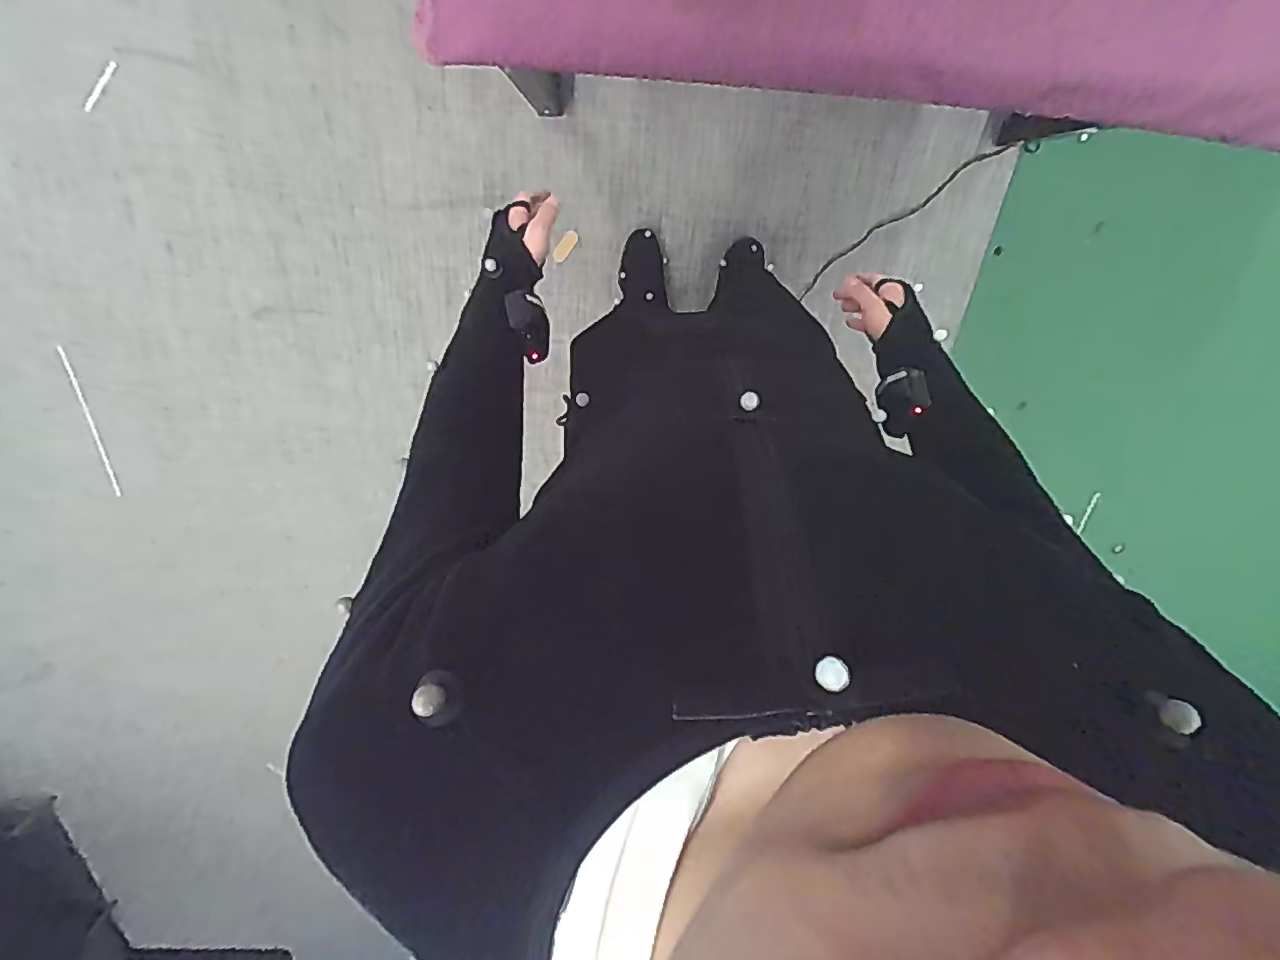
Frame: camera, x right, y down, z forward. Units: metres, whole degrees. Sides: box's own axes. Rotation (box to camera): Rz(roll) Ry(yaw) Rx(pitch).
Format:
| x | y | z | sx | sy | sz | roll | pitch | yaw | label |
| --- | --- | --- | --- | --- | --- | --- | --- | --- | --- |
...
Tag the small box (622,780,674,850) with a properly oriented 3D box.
| x | y | z | sx | sy | sz | roll | pitch | yaw | label |
| --- | --- | --- | --- | --- | --- | --- | --- | --- | --- |
| 0.027 | 1.279 | 2.071 | 0.179 | 0.176 | 0.168 | 6 | 115 | -5 | small box |
